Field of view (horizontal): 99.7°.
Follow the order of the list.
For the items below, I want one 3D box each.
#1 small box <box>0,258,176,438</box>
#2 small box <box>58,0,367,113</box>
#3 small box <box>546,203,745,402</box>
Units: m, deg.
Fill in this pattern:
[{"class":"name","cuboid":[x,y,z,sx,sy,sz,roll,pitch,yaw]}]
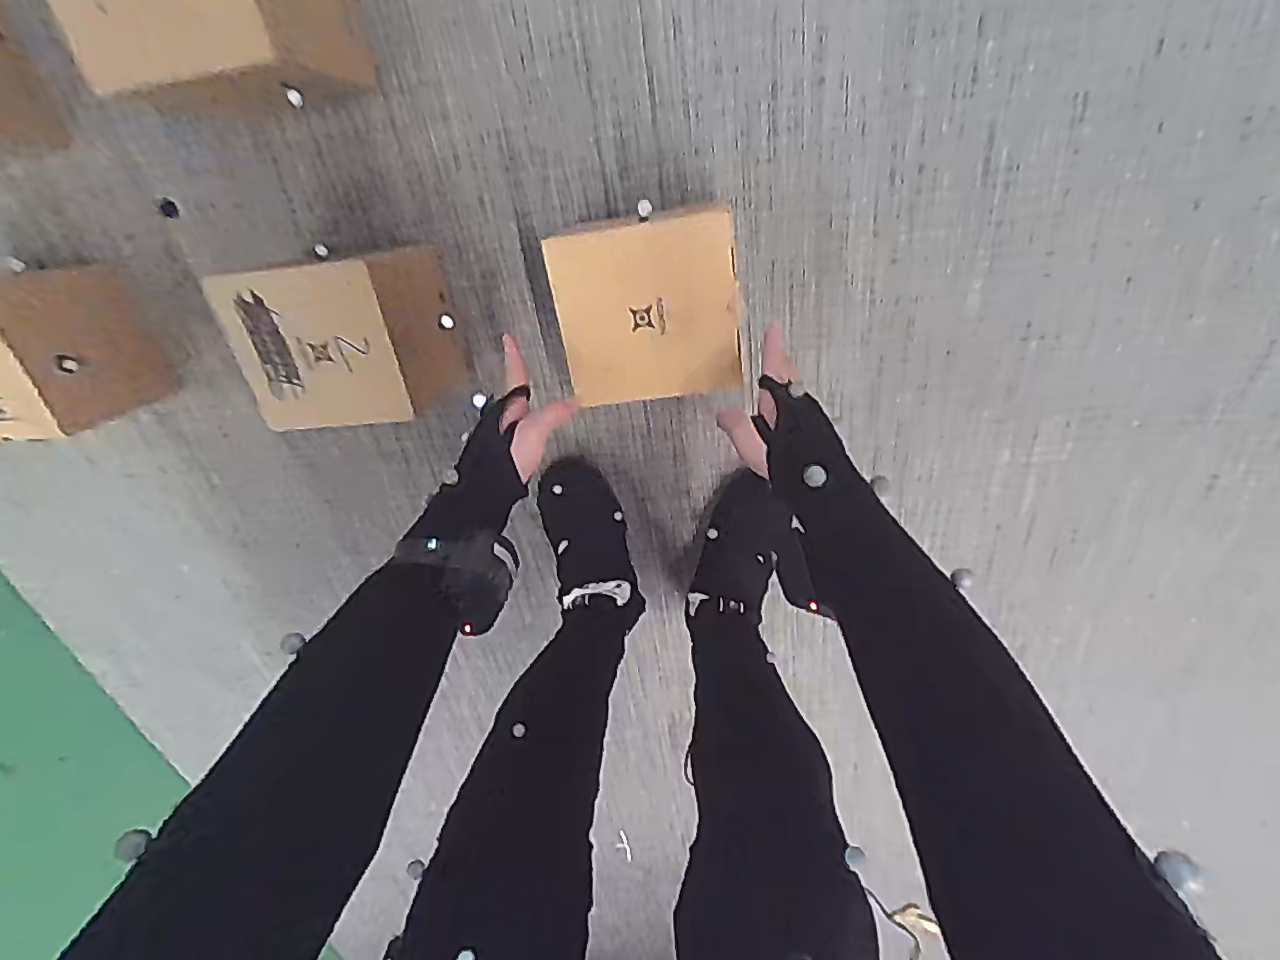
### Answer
[{"class":"small box","cuboid":[-0.738,-0.163,0.663,0.168,0.176,0.179,-4,117,6]},{"class":"small box","cuboid":[-0.376,-0.445,0.481,0.179,0.176,0.168,-5,117,7]},{"class":"small box","cuboid":[0.015,-0.196,0.586,0.179,0.176,0.168,-6,117,7]}]
